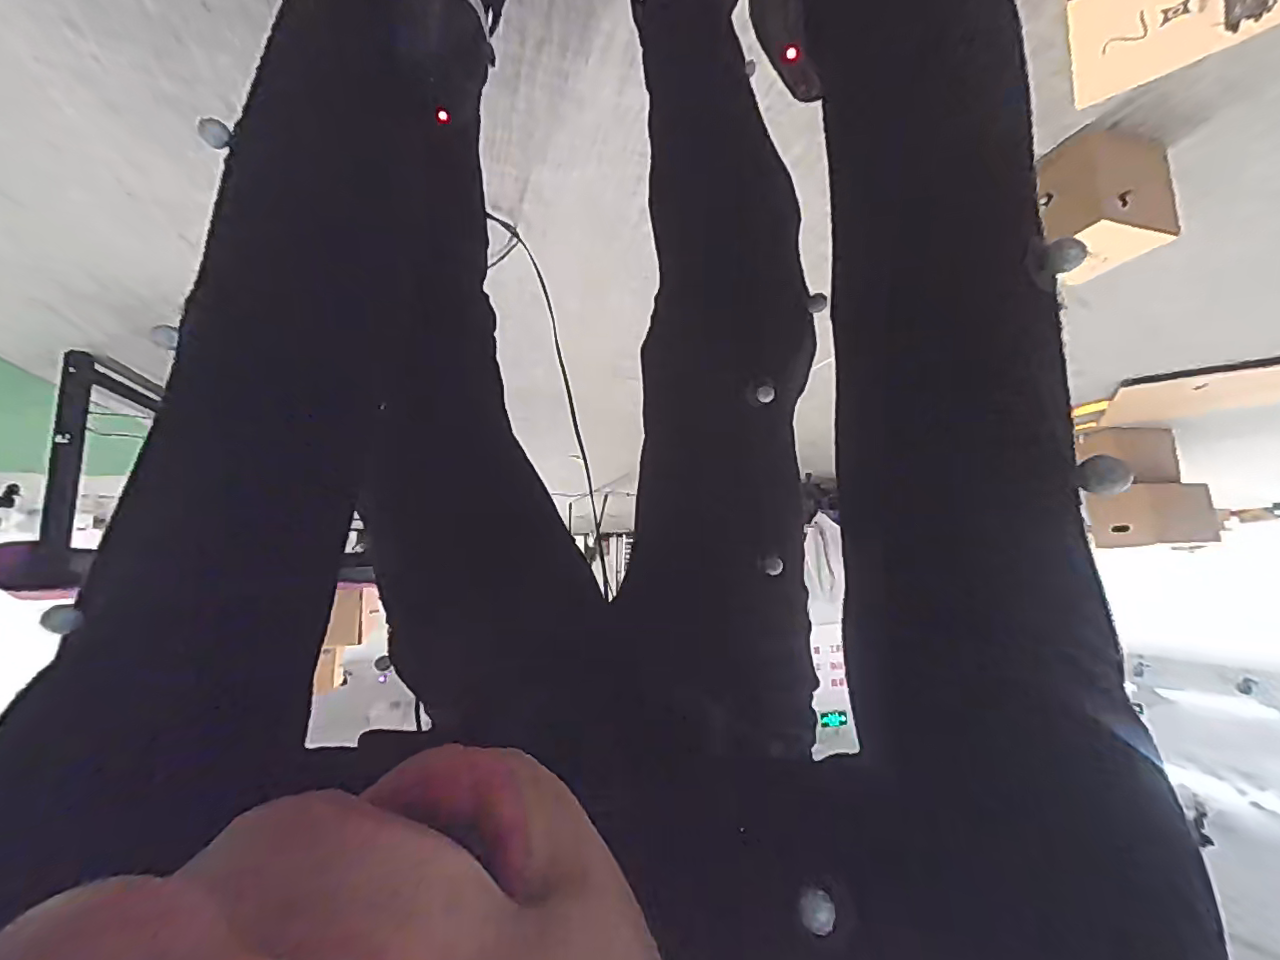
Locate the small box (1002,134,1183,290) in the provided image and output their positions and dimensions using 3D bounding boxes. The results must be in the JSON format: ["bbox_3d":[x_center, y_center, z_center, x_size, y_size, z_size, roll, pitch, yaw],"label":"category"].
[{"bbox_3d":[0.765,-0.454,0.931,0.179,0.176,0.168,1,171,-16],"label":"small box"}]

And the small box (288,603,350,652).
[{"bbox_3d":[-1.217,0.557,2.062,0.168,0.176,0.179,3,168,-18],"label":"small box"}]

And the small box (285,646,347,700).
[{"bbox_3d":[-1.217,0.719,2.038,0.168,0.176,0.179,3,169,-18],"label":"small box"}]
